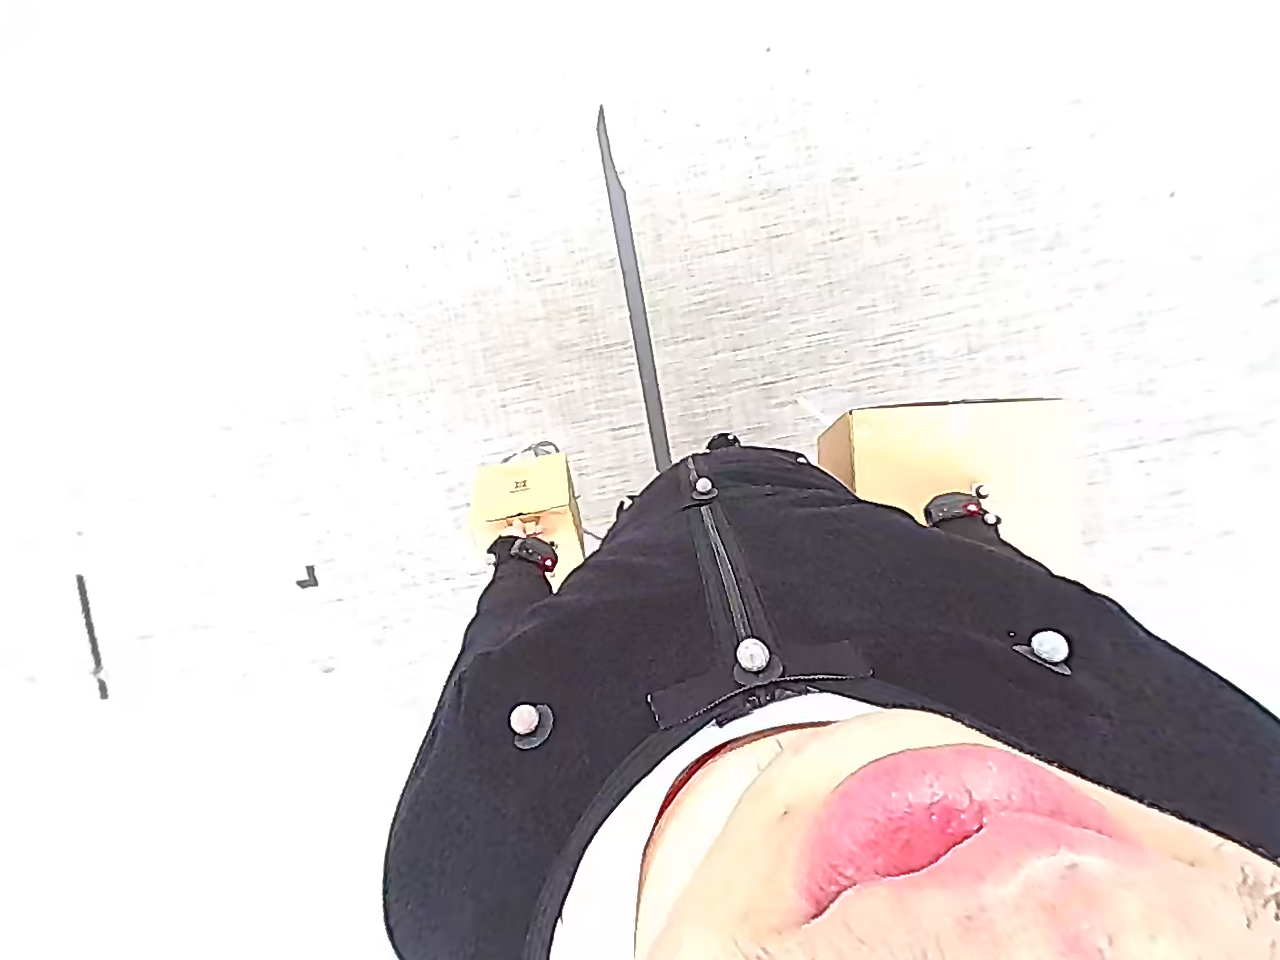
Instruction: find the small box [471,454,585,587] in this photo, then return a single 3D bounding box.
[{"bbox_3d":[-0.199,0.079,0.996,0.168,0.179,0.176,-11,122,-4],"label":"small box"}]
